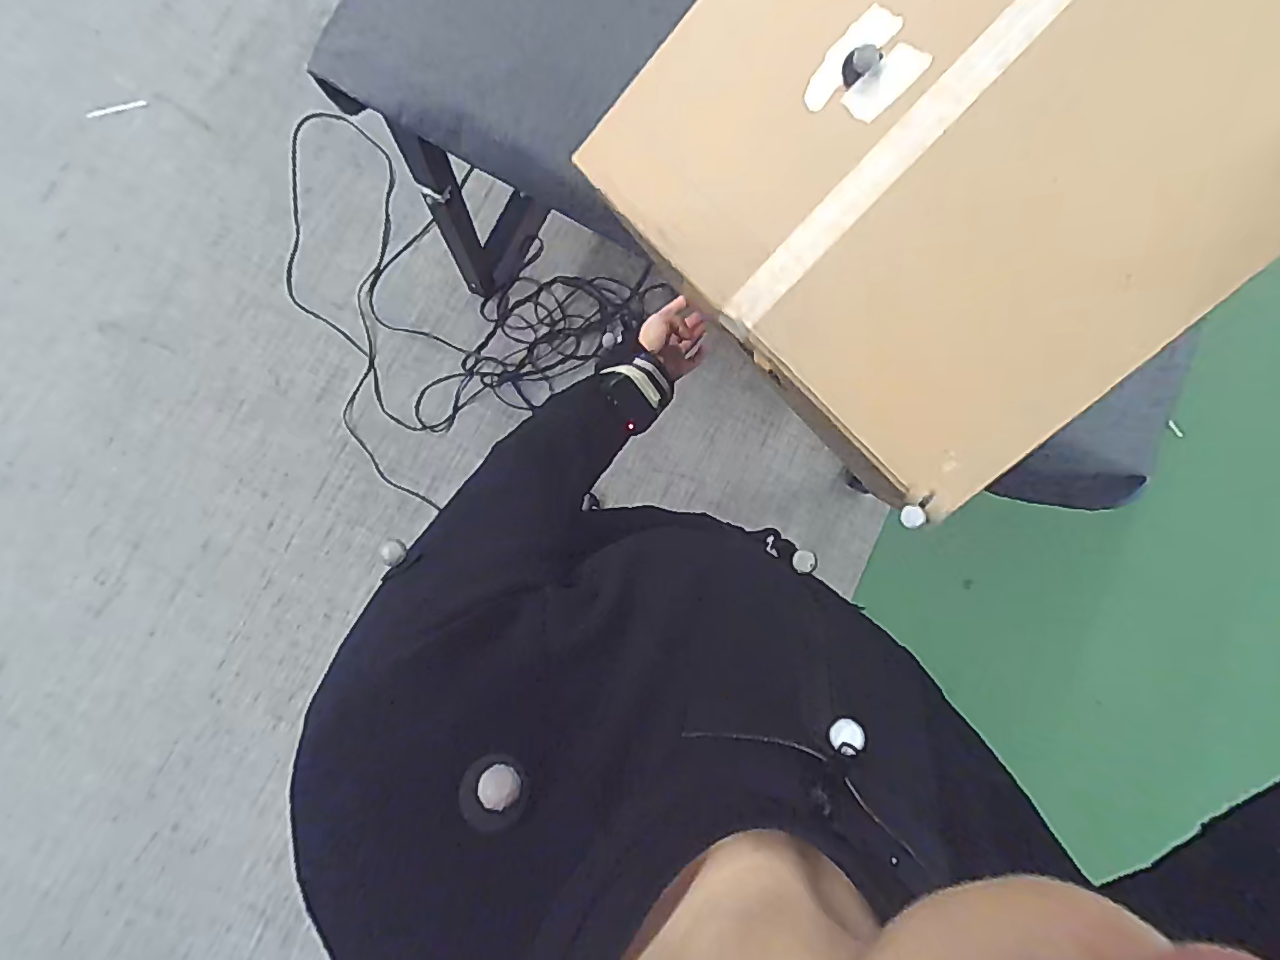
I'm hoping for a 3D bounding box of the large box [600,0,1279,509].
[{"bbox_3d":[0.251,-0.237,0.418,0.408,0.320,0.320,-46,77,16],"label":"large box"}]
